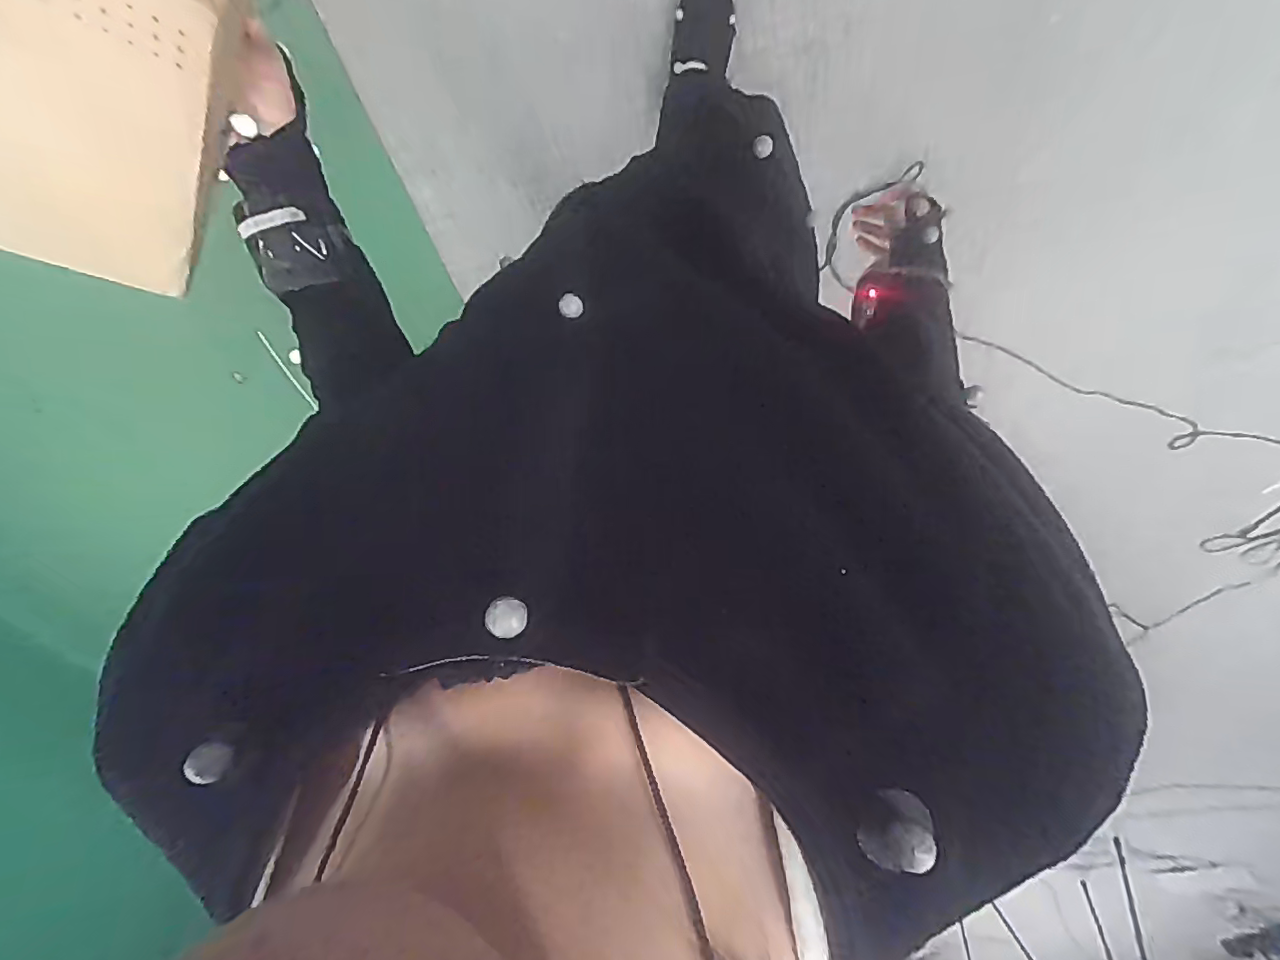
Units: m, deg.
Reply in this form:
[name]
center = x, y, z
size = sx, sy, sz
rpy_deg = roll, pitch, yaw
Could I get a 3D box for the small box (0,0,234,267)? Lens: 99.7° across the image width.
[small box]
center = -0.260, -0.228, 0.205
size = 0.168, 0.179, 0.176
rpy_deg = 11, 150, -39
